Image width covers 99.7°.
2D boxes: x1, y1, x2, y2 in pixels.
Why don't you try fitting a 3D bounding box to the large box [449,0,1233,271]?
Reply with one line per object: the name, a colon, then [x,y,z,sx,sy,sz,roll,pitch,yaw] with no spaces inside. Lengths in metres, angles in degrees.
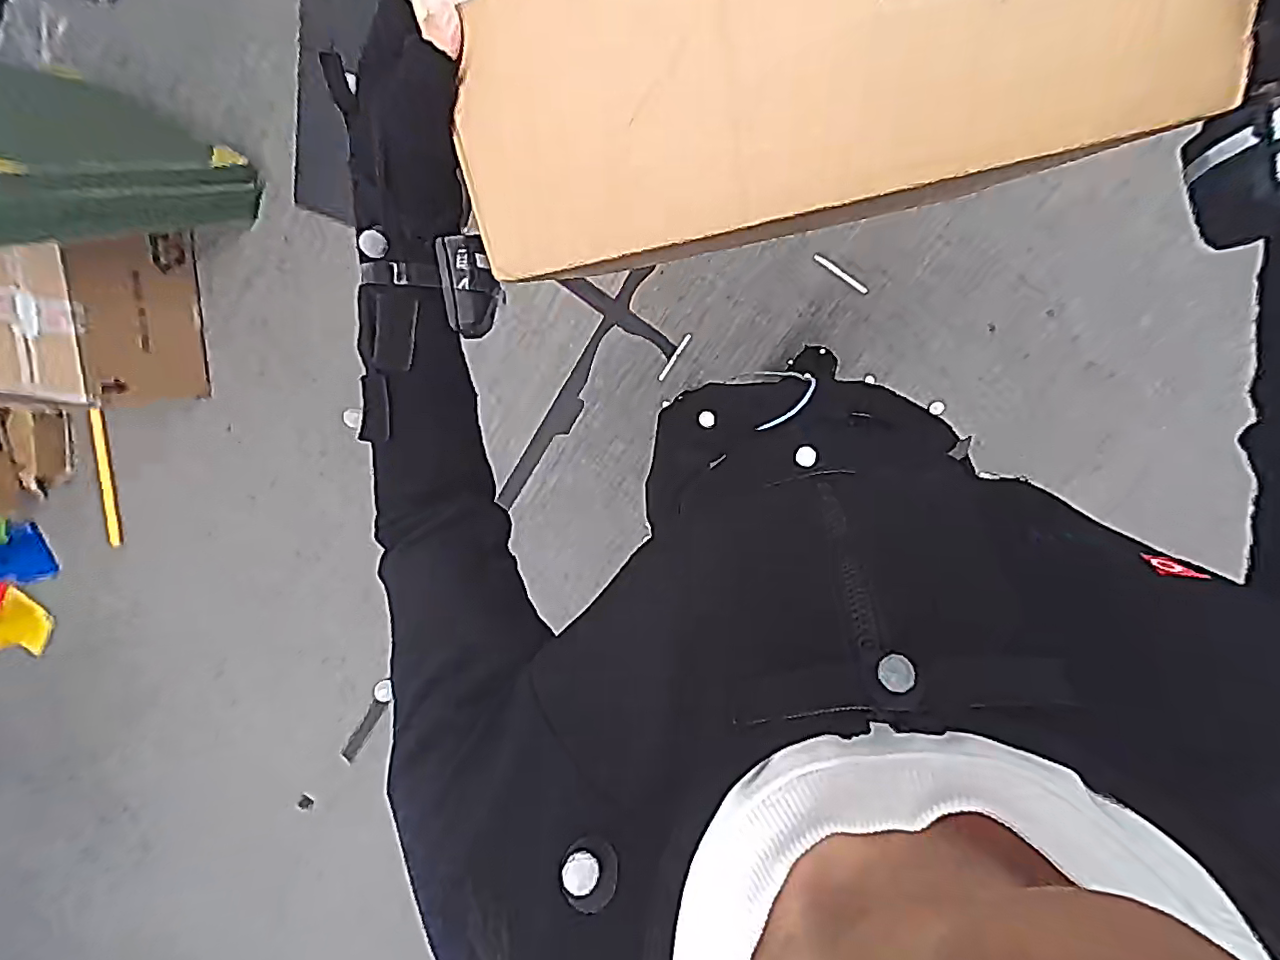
large box: [0.099,-0.363,0.411,0.408,0.320,0.320,-8,110,12]
